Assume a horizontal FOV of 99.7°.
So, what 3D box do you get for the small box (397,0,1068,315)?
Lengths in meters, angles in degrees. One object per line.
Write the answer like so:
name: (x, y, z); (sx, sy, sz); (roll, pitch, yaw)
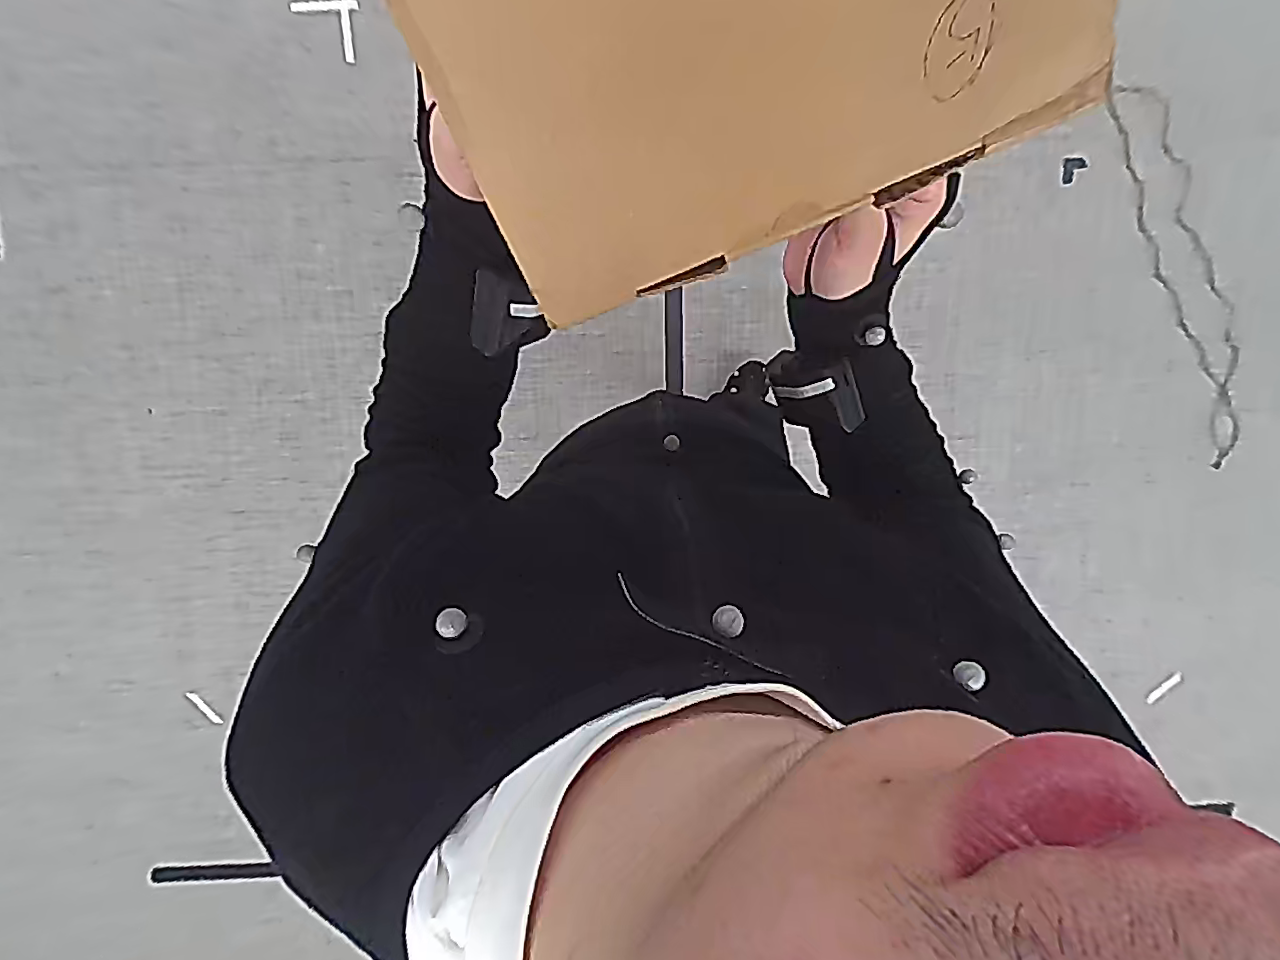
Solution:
small box: (0.017, -0.192, 0.199); (0.168, 0.176, 0.179); (-19, 119, 14)
